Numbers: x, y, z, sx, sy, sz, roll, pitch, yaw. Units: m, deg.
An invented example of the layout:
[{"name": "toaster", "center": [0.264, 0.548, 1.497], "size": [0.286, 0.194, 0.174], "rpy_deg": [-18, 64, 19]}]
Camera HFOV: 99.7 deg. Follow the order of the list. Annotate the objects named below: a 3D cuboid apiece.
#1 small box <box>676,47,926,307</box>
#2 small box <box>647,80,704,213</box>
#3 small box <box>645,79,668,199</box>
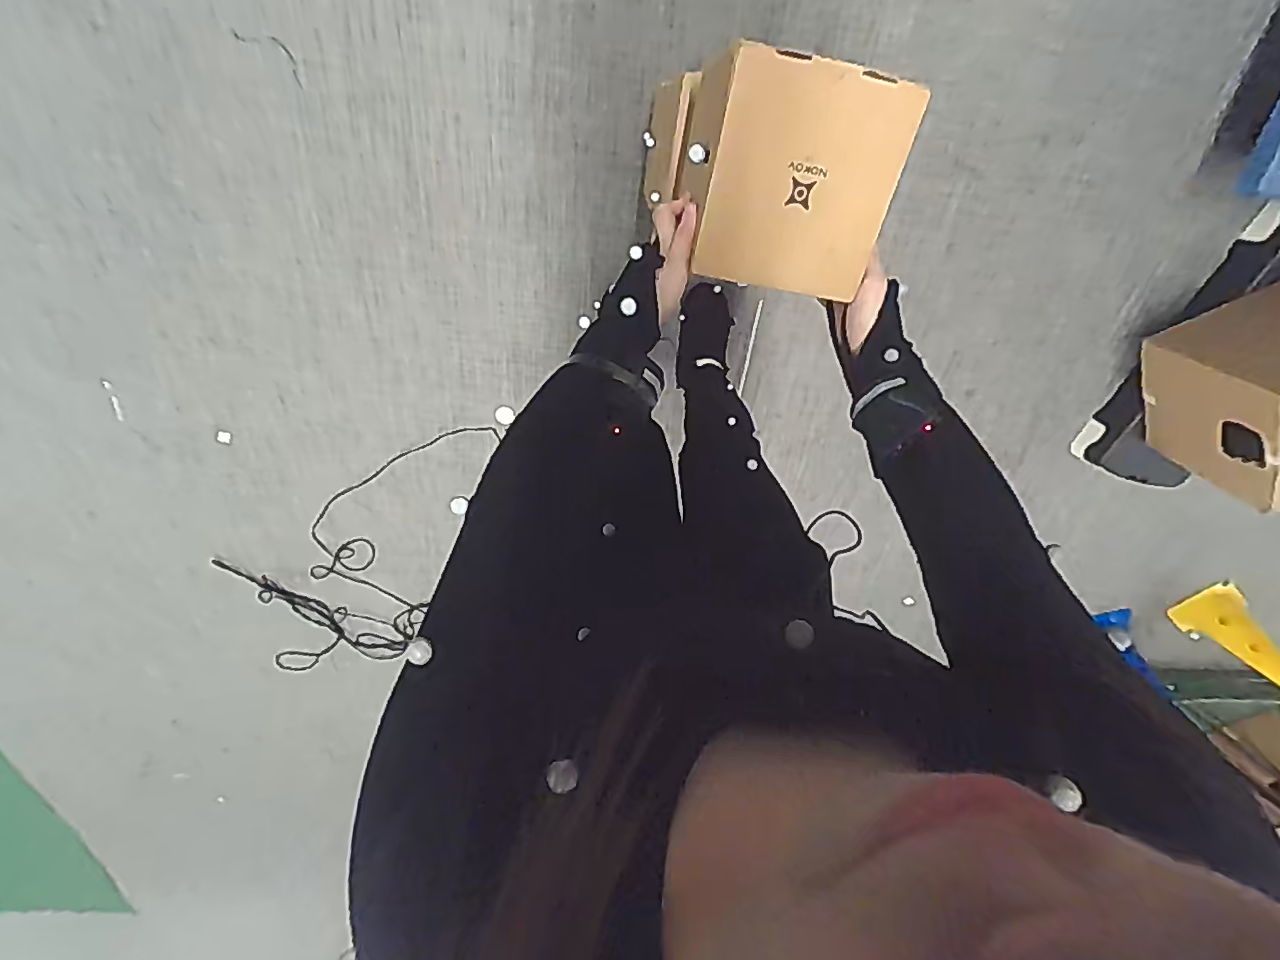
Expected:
[{"name": "small box", "center": [0.135, -0.292, 0.538], "size": [0.168, 0.176, 0.179], "rpy_deg": [7, 120, -8]}, {"name": "small box", "center": [0.109, -0.514, 0.856], "size": [0.179, 0.176, 0.168], "rpy_deg": [5, 123, -6]}, {"name": "small box", "center": [0.101, -0.609, 0.991], "size": [0.168, 0.176, 0.179], "rpy_deg": [5, 122, -6]}]
